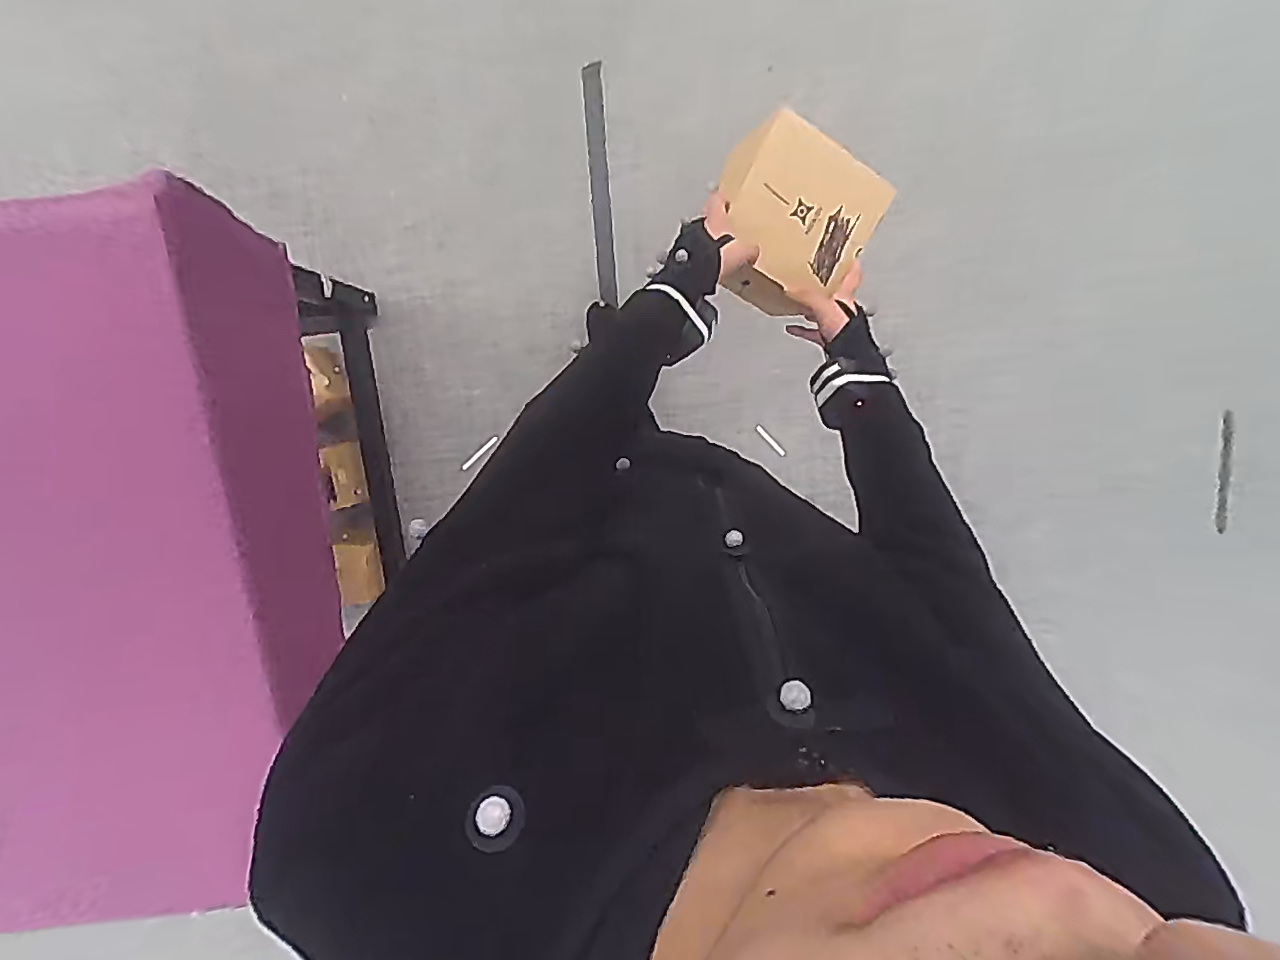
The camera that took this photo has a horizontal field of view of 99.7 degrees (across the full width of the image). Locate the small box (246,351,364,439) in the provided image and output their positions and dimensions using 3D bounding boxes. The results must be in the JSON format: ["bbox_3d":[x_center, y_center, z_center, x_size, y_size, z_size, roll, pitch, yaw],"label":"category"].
[{"bbox_3d":[-0.905,-0.231,1.478,0.179,0.176,0.168,-34,99,5],"label":"small box"}]

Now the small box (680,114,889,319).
[{"bbox_3d":[0.178,-0.332,0.721,0.179,0.176,0.168,25,99,-16],"label":"small box"}]
